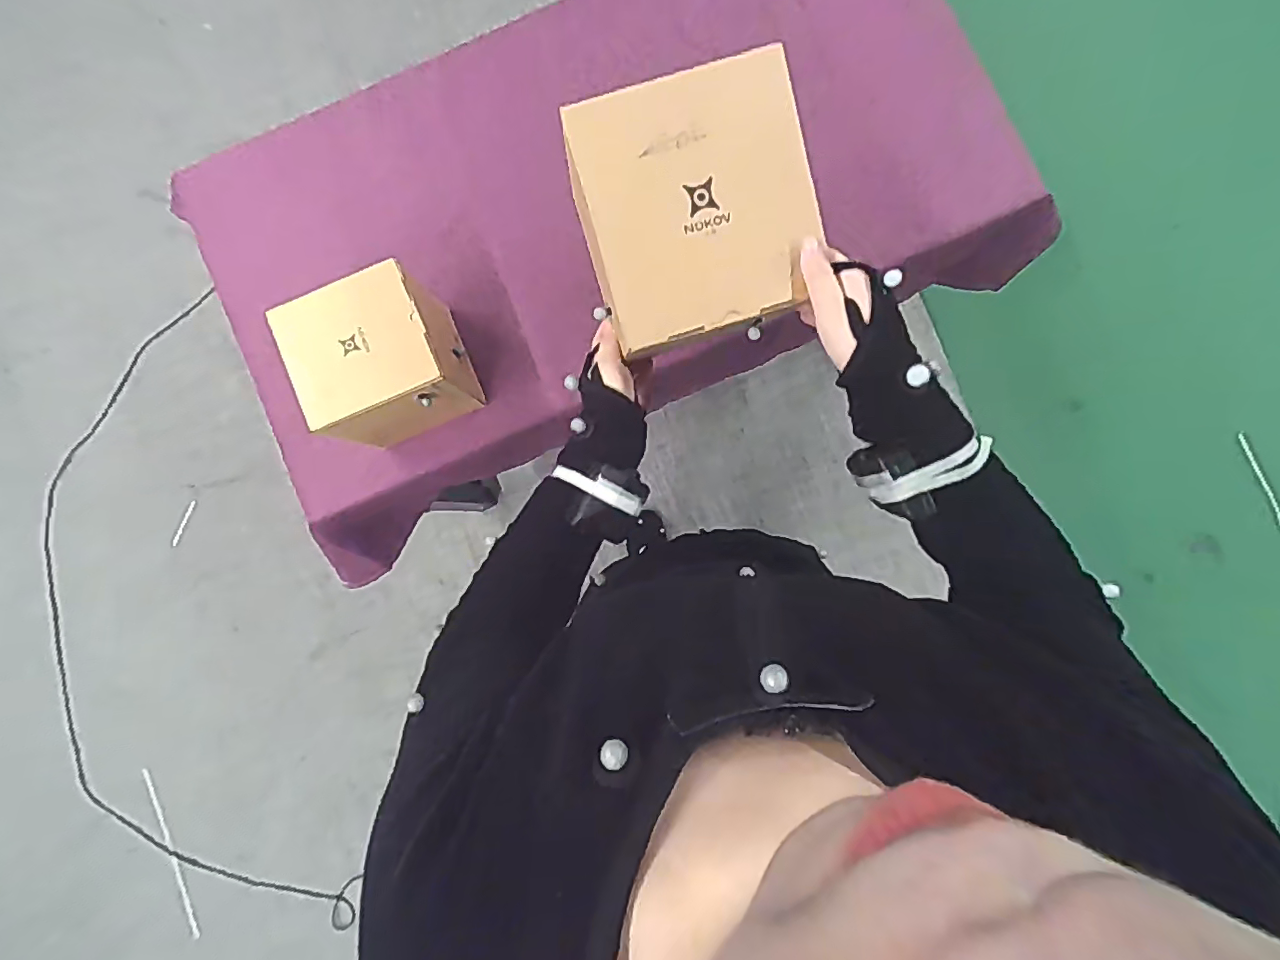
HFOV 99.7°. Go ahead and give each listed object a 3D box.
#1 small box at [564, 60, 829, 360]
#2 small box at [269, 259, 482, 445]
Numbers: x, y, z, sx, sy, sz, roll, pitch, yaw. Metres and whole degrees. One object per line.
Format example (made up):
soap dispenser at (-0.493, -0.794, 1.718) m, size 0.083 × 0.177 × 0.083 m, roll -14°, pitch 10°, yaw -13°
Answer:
small box at (0.041, -0.209, 0.476) m, size 0.168 × 0.176 × 0.179 m, roll -16°, pitch 99°, yaw -1°
small box at (-0.345, -0.159, 0.737) m, size 0.179 × 0.176 × 0.168 m, roll -23°, pitch 86°, yaw -1°
